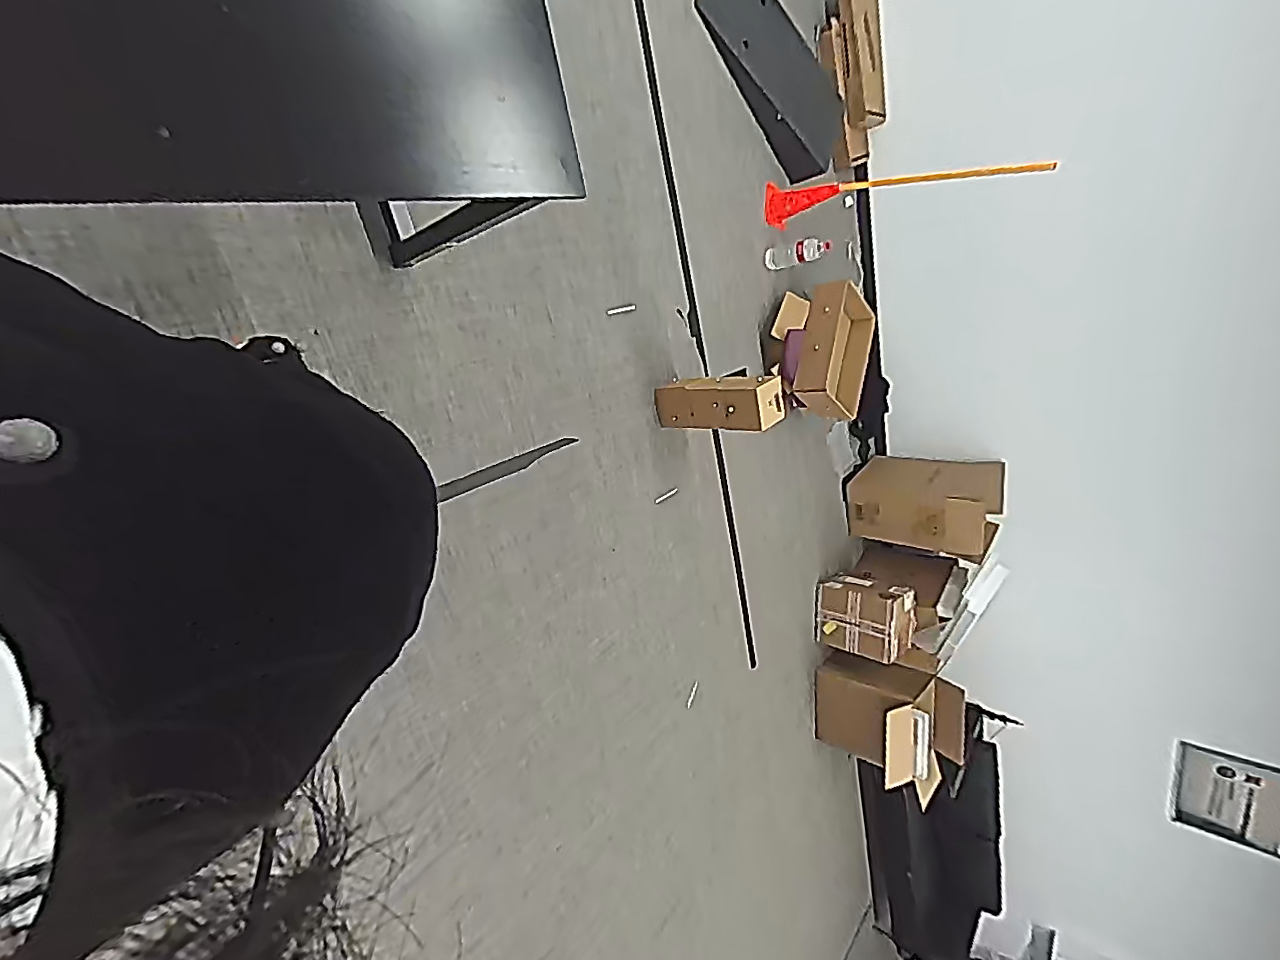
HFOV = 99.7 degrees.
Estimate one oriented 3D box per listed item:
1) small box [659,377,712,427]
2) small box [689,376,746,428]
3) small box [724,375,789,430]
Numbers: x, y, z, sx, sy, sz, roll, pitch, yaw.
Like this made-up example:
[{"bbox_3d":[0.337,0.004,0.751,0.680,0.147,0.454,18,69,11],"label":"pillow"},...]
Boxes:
[{"bbox_3d":[0.202,-0.327,2.266,0.168,0.176,0.179,-29,113,-41],"label":"small box"},{"bbox_3d":[0.319,-0.313,2.152,0.179,0.176,0.168,-31,116,-41],"label":"small box"},{"bbox_3d":[0.439,-0.296,2.040,0.179,0.176,0.168,-30,115,-40],"label":"small box"}]
